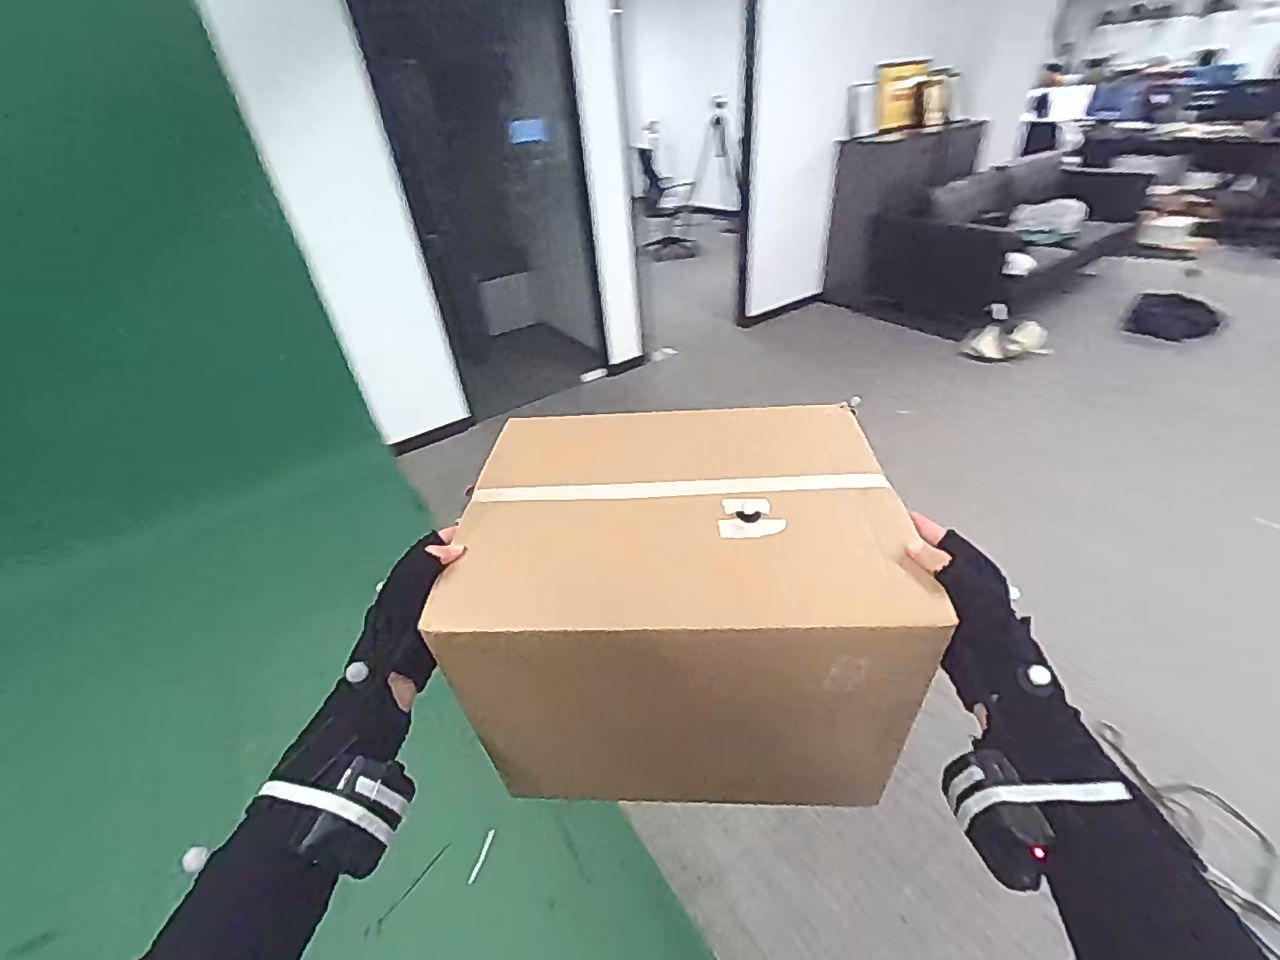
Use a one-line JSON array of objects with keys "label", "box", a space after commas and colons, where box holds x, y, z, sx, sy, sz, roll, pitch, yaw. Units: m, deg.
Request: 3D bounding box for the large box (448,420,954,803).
[{"label": "large box", "box": [0.056, 0.143, 0.625, 0.408, 0.320, 0.320, -1, 38, 5]}]
